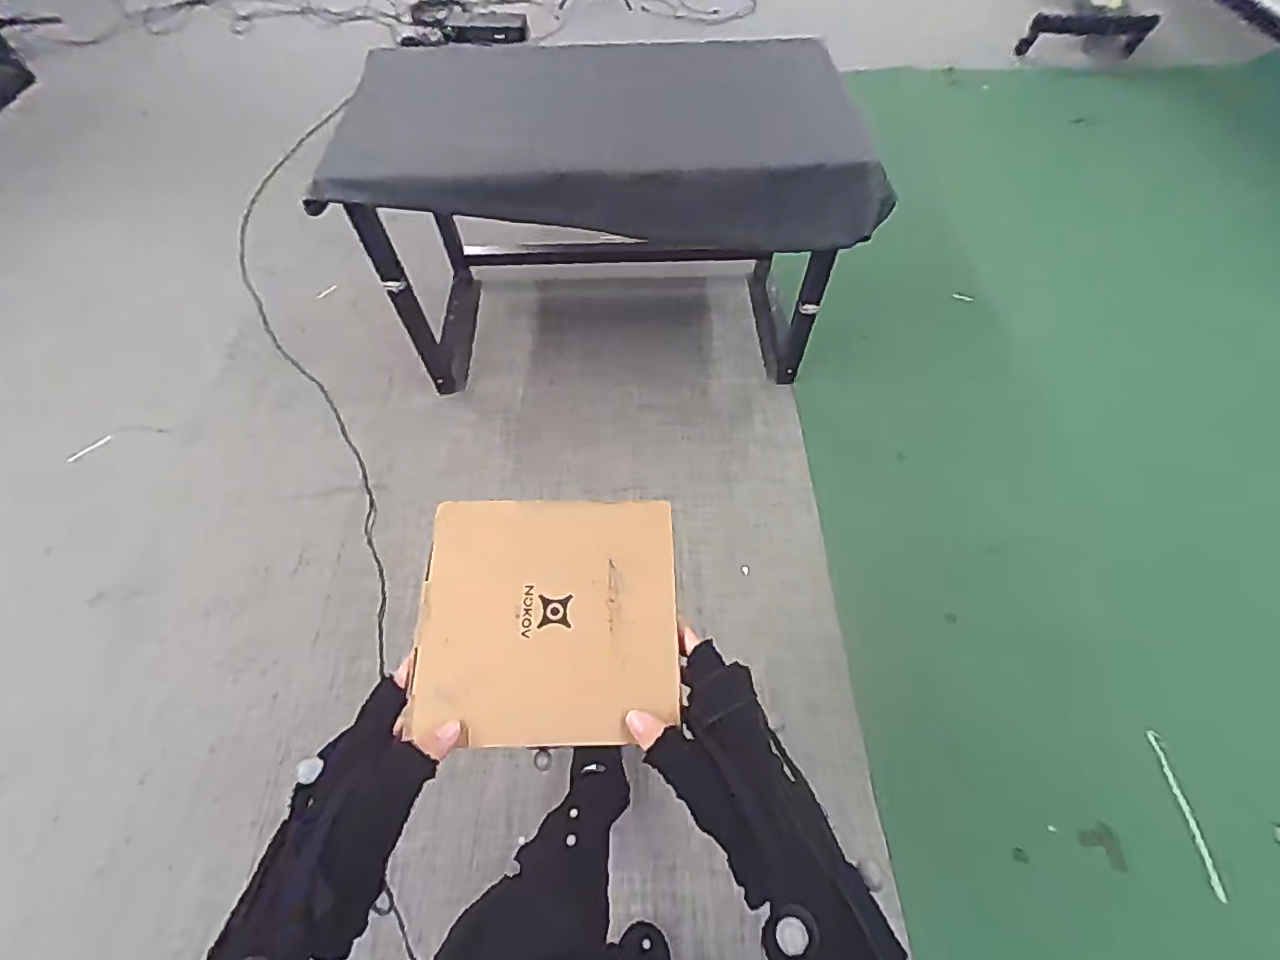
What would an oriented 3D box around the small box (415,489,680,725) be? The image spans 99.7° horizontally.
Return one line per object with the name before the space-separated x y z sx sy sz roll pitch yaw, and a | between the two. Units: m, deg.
small box | -0.066 0.115 0.458 0.179 0.176 0.168 0 66 -4
